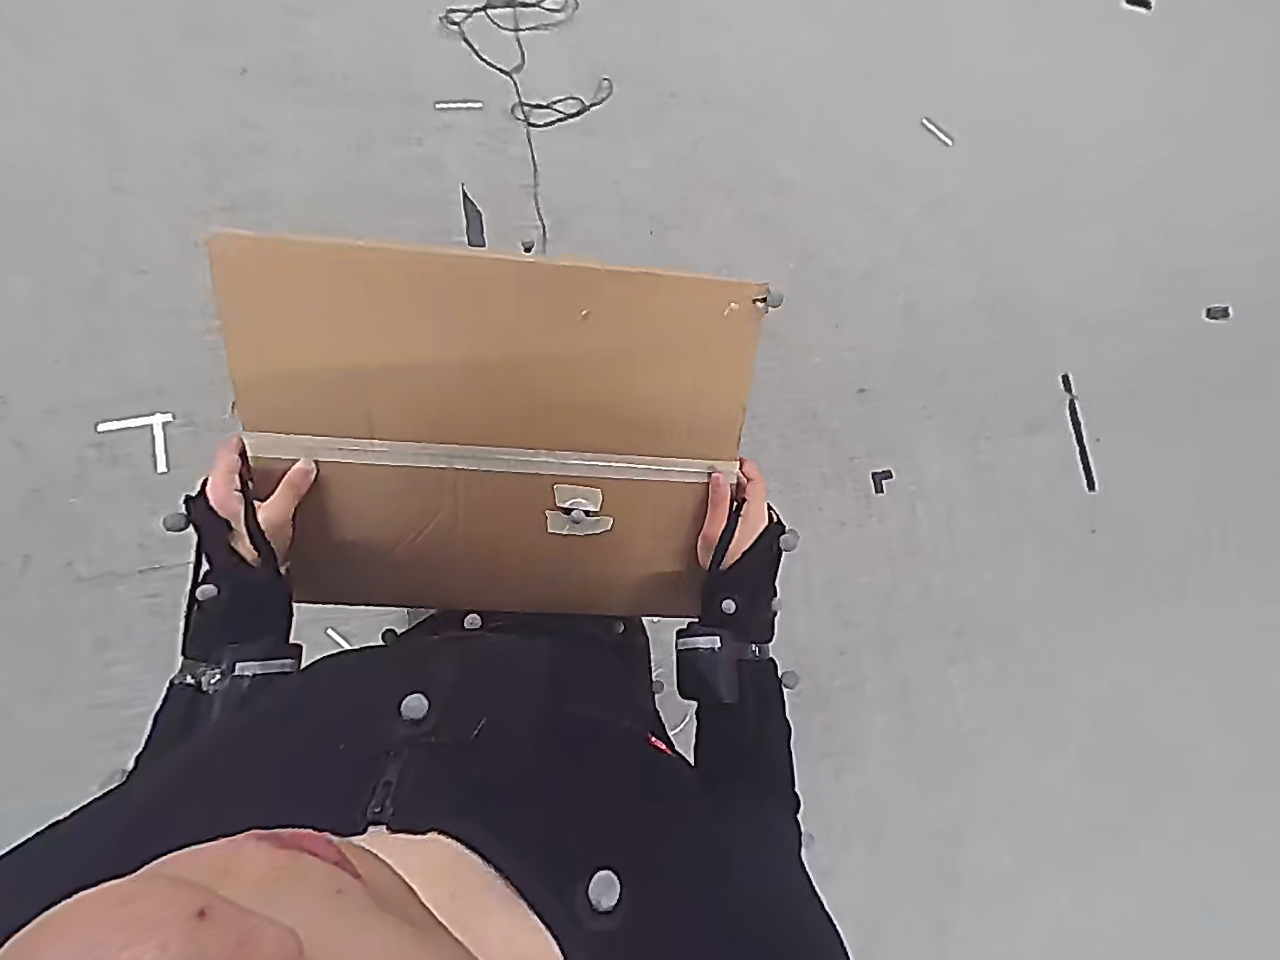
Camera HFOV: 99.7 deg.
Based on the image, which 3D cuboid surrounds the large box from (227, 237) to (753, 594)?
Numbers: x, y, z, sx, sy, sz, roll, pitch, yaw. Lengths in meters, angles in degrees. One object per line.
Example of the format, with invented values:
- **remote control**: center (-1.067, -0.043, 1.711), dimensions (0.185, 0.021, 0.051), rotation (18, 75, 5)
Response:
- **large box**: center (-0.130, -0.087, 0.605), dimensions (0.408, 0.320, 0.320), rotation (2, 114, -6)
